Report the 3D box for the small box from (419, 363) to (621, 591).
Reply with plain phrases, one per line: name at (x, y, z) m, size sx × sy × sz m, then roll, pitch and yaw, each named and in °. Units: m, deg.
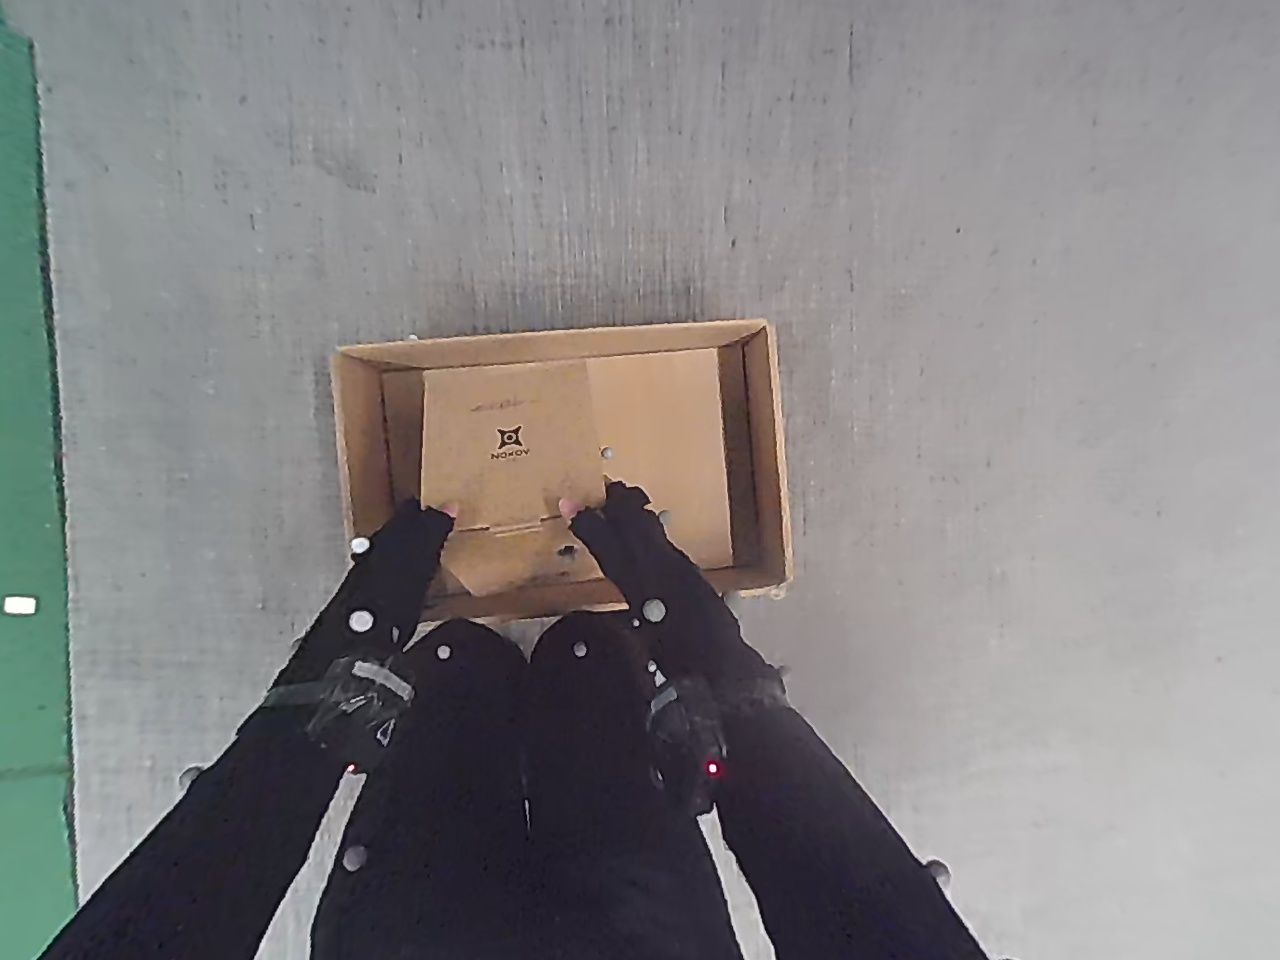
small box at (-0.115, 0.007, 0.572) m, size 0.168 × 0.176 × 0.179 m, roll -8°, pitch 58°, yaw -2°
